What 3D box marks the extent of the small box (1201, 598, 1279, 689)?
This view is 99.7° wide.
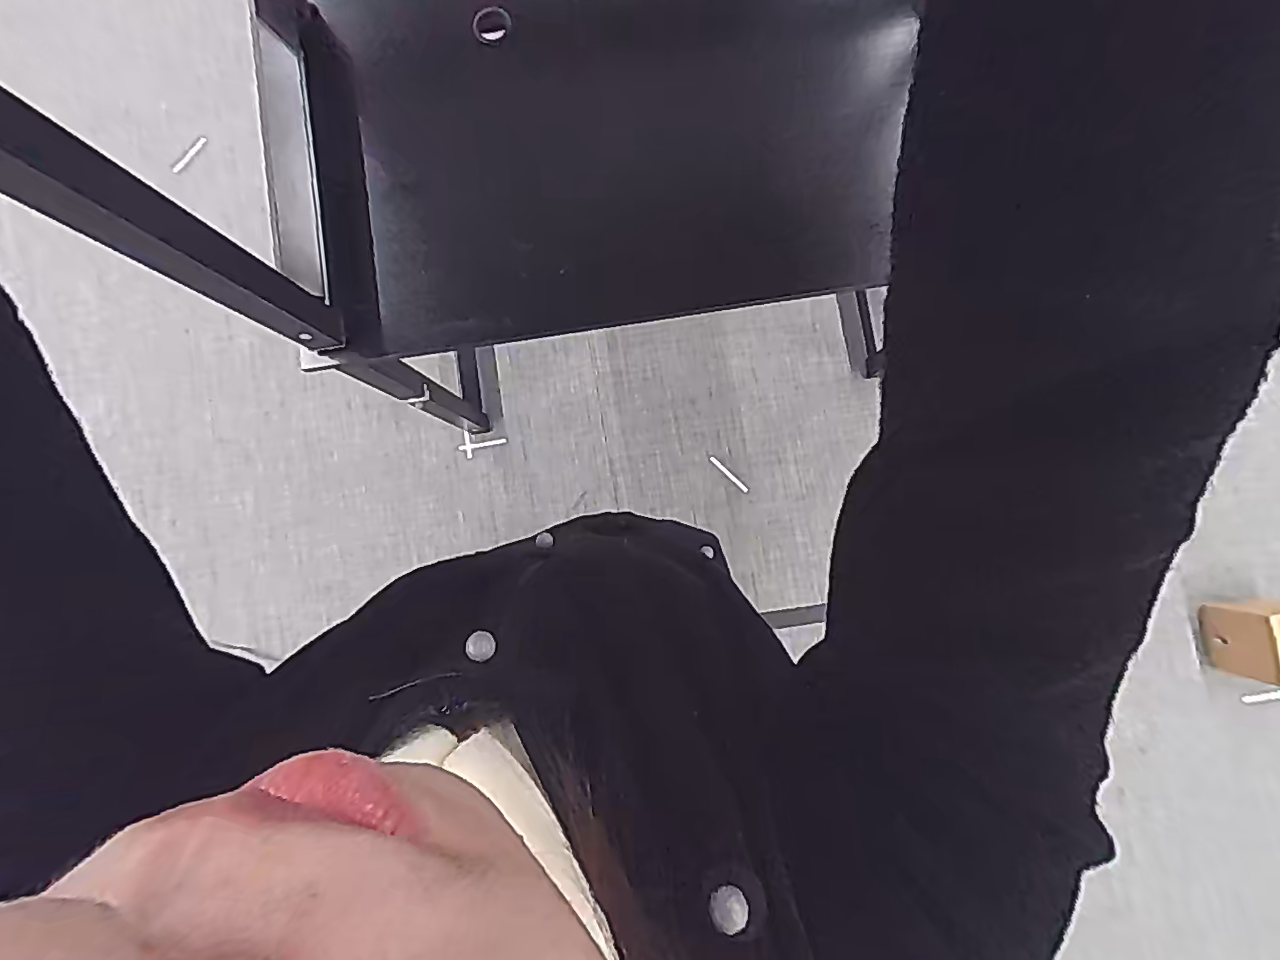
[{"bbox_3d":[1.595,0.408,1.370,0.168,0.176,0.179,-7,87,0],"label":"small box"}]
